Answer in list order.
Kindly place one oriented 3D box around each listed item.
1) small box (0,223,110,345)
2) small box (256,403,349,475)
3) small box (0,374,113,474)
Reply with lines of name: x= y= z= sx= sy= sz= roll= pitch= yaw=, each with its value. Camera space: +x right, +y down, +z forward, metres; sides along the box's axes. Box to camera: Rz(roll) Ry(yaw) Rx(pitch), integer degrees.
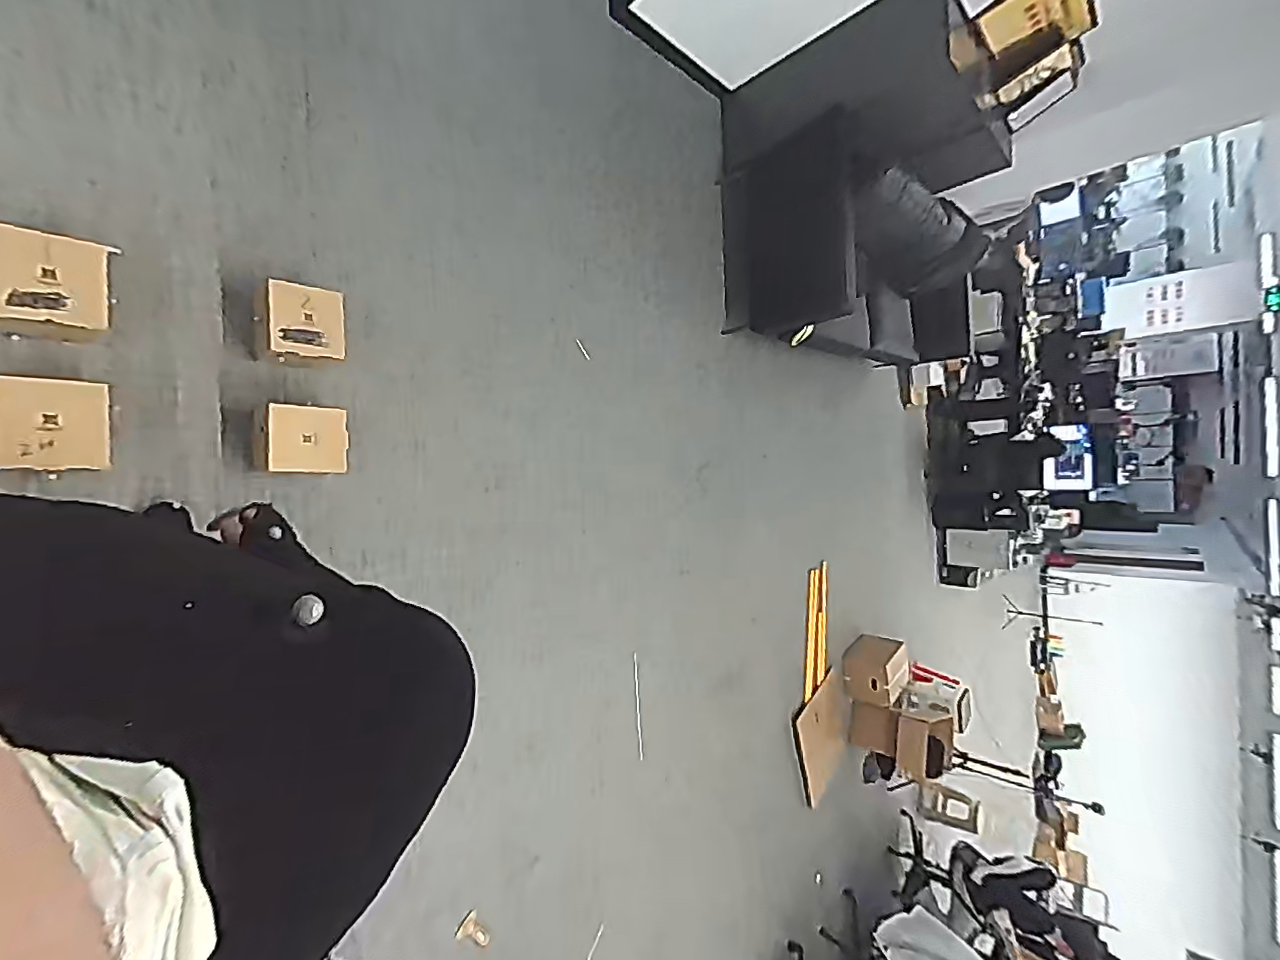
small box: x=-1.178 y=-0.381 z=1.082 sx=0.168 sy=0.176 sz=0.179 roll=0 pitch=89 yaw=-46
small box: x=-0.872 y=-0.097 z=1.393 sx=0.179 sy=0.176 sz=0.168 roll=0 pitch=89 yaw=-47
small box: x=-1.173 y=-0.103 z=1.079 sx=0.168 sy=0.176 sz=0.179 roll=-1 pitch=89 yaw=-46
